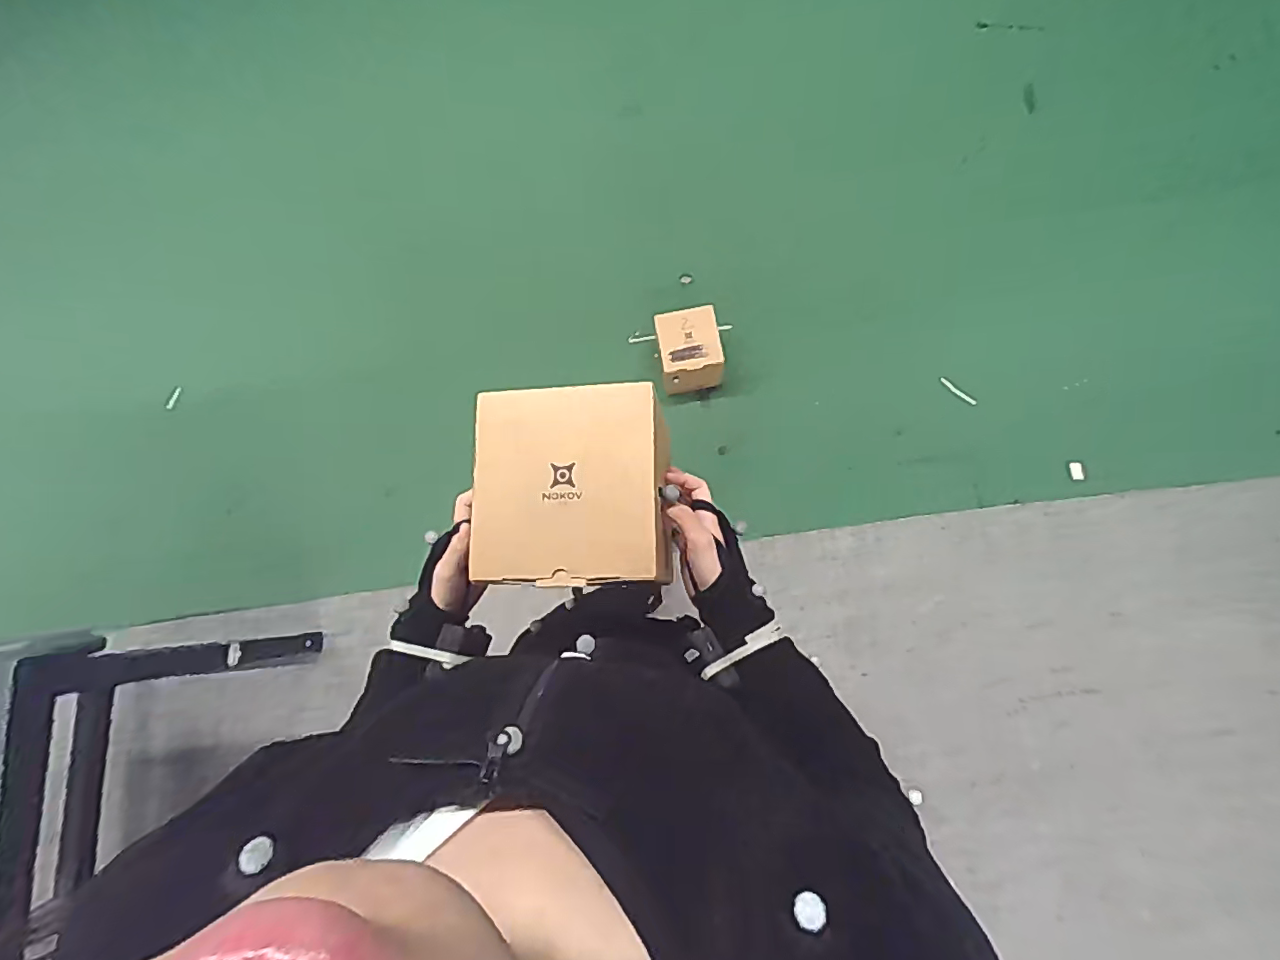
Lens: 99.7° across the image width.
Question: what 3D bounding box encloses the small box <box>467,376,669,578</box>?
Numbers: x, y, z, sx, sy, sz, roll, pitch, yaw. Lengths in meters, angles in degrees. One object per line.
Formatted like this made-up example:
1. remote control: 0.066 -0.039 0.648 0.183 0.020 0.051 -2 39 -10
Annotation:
1. small box: -0.059 0.008 0.550 0.168 0.176 0.179 -1 79 6
